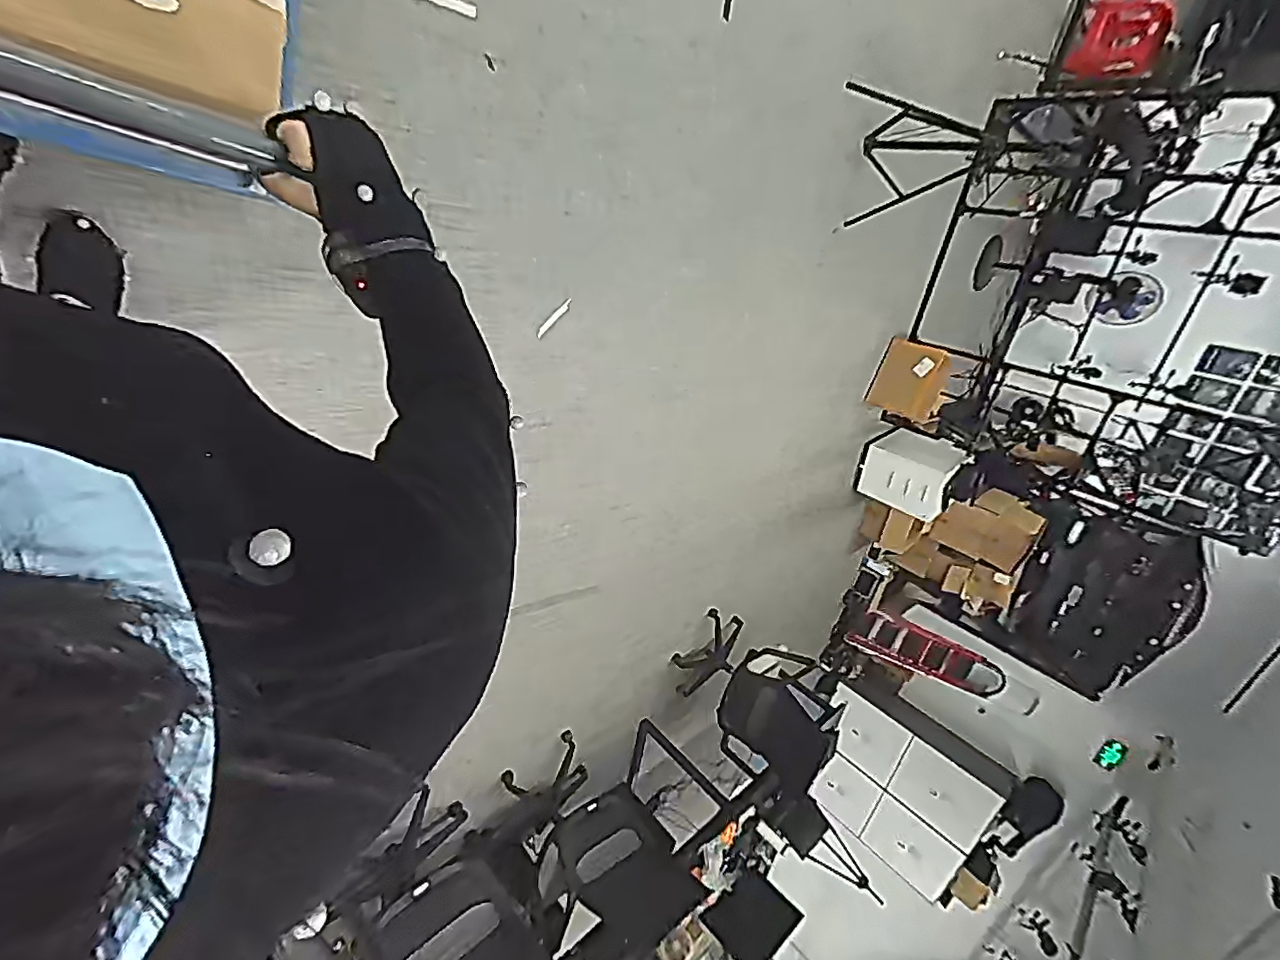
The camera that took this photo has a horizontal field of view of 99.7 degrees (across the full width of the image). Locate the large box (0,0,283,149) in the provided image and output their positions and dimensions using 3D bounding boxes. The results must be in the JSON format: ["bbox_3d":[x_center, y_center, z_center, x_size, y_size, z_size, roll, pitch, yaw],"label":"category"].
[{"bbox_3d":[-0.702,-0.640,0.648,0.408,0.320,0.320,-4,116,-47],"label":"large box"}]
